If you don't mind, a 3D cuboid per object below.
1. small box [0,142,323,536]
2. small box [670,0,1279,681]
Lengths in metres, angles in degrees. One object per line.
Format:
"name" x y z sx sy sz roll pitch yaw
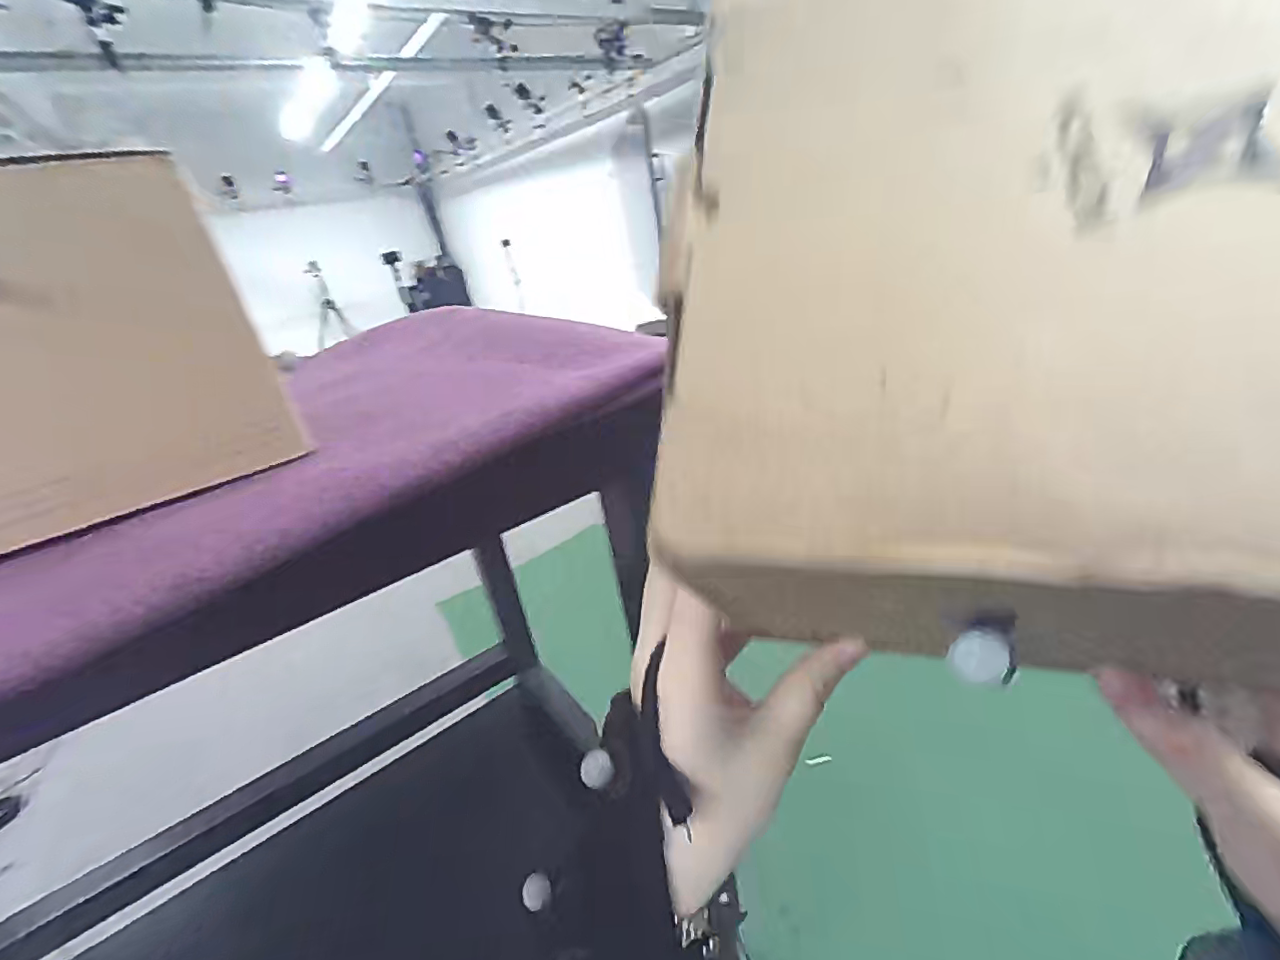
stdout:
"small box" -0.327 -0.084 0.331 0.179 0.176 0.168 -24 27 -28
"small box" 0.122 -0.029 0.188 0.179 0.176 0.168 2 69 18
